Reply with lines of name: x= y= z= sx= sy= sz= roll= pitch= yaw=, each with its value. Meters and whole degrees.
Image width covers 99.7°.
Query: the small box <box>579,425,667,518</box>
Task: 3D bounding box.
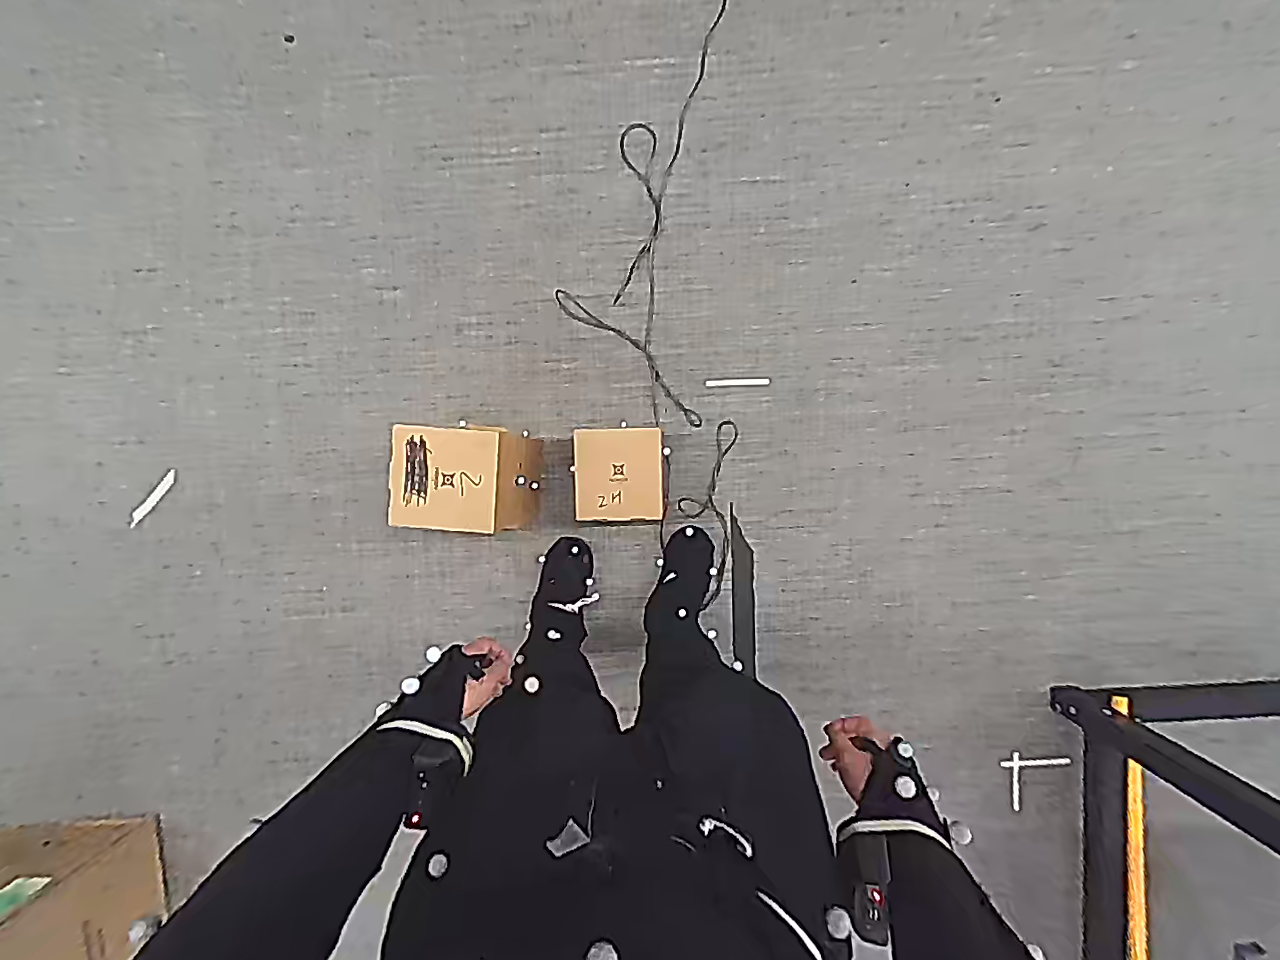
small box: x=-0.031 y=-0.019 z=1.095 sx=0.168 sy=0.176 sz=0.179 roll=0 pitch=94 yaw=3

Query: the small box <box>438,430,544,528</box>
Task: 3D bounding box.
small box: x=-0.295 y=-0.006 z=1.104 sx=0.168 sy=0.176 sz=0.179 roll=5 pitch=94 yaw=2
